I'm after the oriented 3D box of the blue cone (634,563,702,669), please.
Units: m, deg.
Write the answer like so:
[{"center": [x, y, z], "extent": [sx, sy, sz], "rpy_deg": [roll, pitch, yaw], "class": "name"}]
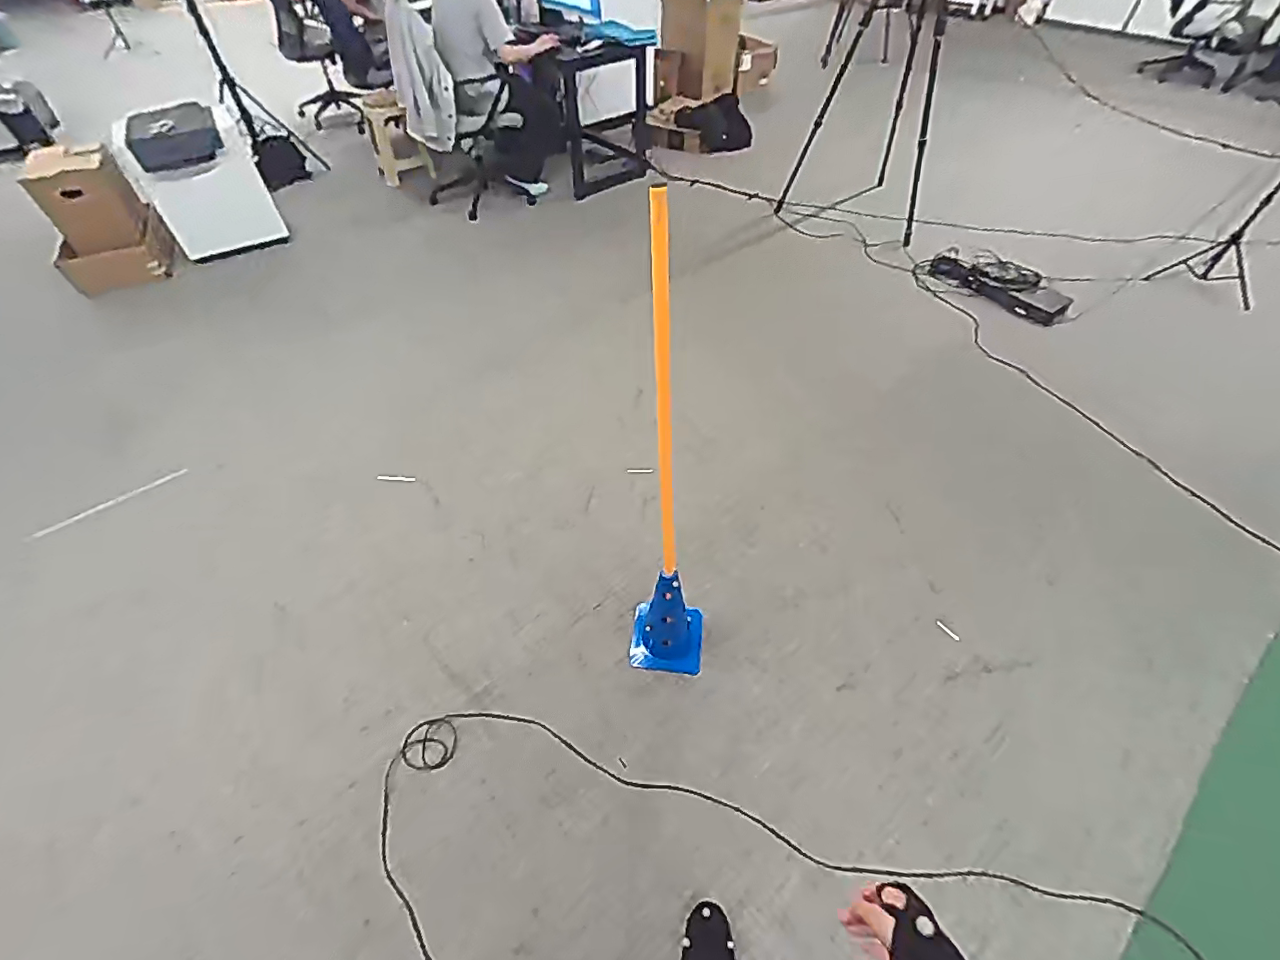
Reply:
[{"center": [0.076, 0.335, 1.418], "extent": [0.192, 0.380, 0.193], "rpy_deg": [3, 48, 5], "class": "blue cone"}]
